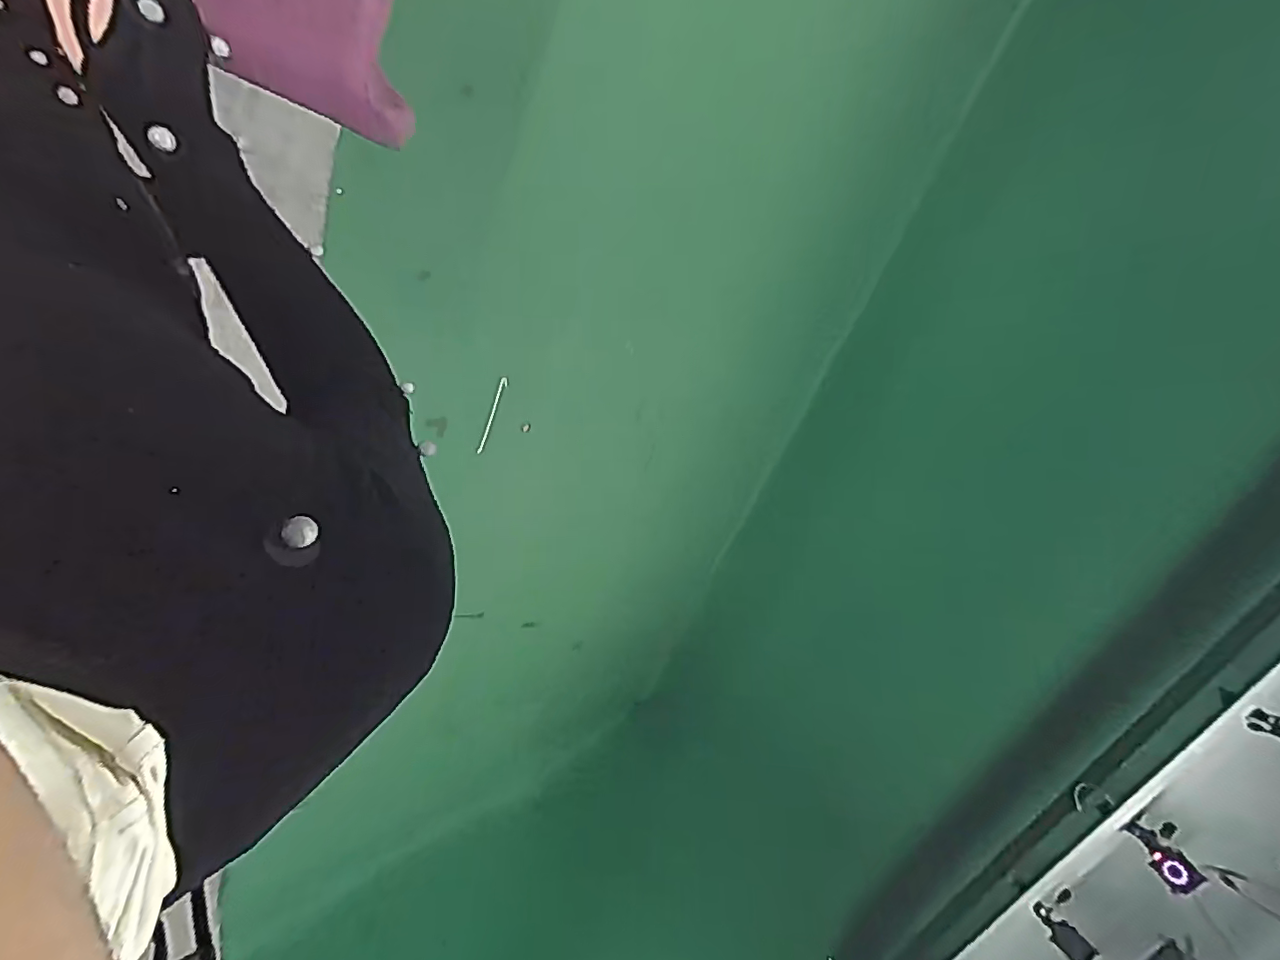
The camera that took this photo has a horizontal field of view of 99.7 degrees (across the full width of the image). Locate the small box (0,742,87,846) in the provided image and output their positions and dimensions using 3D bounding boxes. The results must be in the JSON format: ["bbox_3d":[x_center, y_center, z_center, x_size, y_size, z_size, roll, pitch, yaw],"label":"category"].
[{"bbox_3d":[-1.728,0.890,1.549,0.179,0.176,0.168,2,120,-51],"label":"small box"}]
